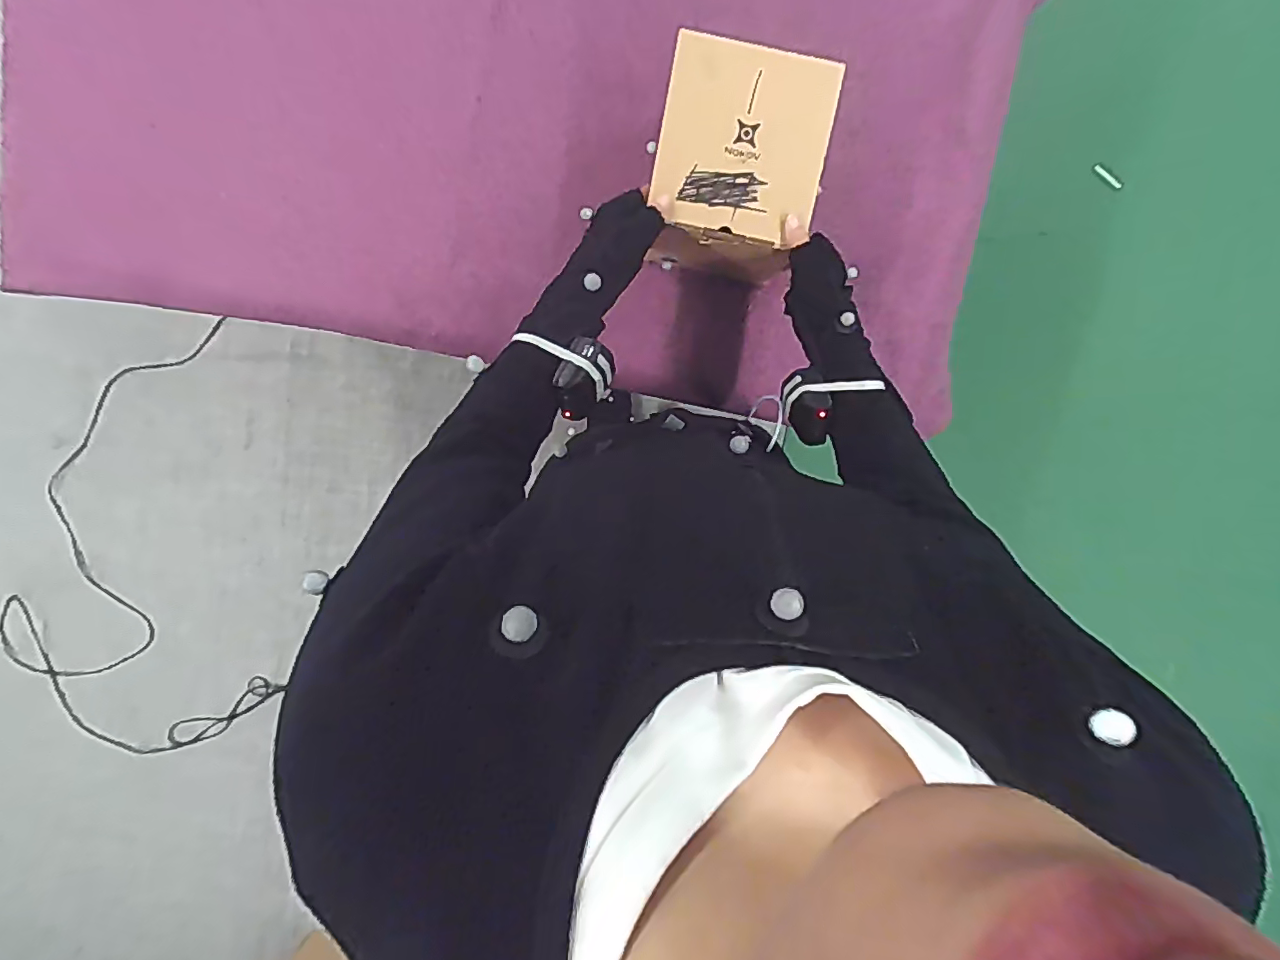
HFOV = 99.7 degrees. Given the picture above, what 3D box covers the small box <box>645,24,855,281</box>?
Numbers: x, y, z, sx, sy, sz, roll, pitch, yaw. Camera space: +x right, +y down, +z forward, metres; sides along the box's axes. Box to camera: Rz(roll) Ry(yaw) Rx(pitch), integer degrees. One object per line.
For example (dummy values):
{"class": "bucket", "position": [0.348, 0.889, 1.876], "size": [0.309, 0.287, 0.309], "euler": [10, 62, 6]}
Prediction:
{"class": "small box", "position": [0.105, -0.338, 0.601], "size": [0.168, 0.176, 0.179], "euler": [14, 99, -4]}
